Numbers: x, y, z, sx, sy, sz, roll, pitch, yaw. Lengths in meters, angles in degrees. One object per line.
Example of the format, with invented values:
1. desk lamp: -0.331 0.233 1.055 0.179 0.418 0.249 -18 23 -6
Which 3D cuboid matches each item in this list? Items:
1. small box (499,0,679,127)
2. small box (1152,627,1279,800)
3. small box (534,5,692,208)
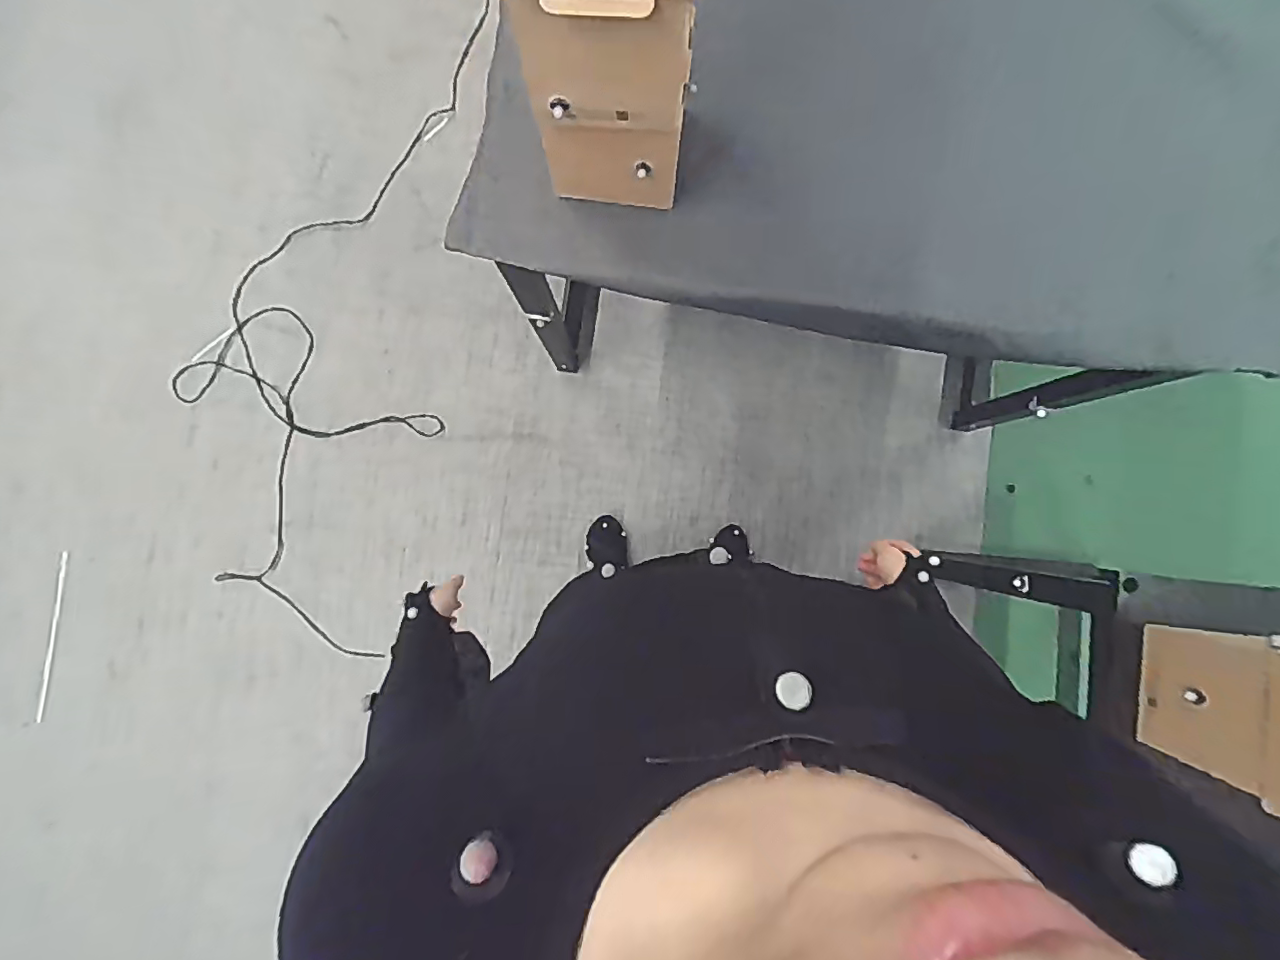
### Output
1. small box: -0.042 -0.505 0.562 0.168 0.176 0.179 2 84 0
2. small box: 0.793 0.287 0.668 0.179 0.176 0.168 6 88 1
3. small box: -0.031 -0.493 0.726 0.179 0.176 0.168 6 85 2
